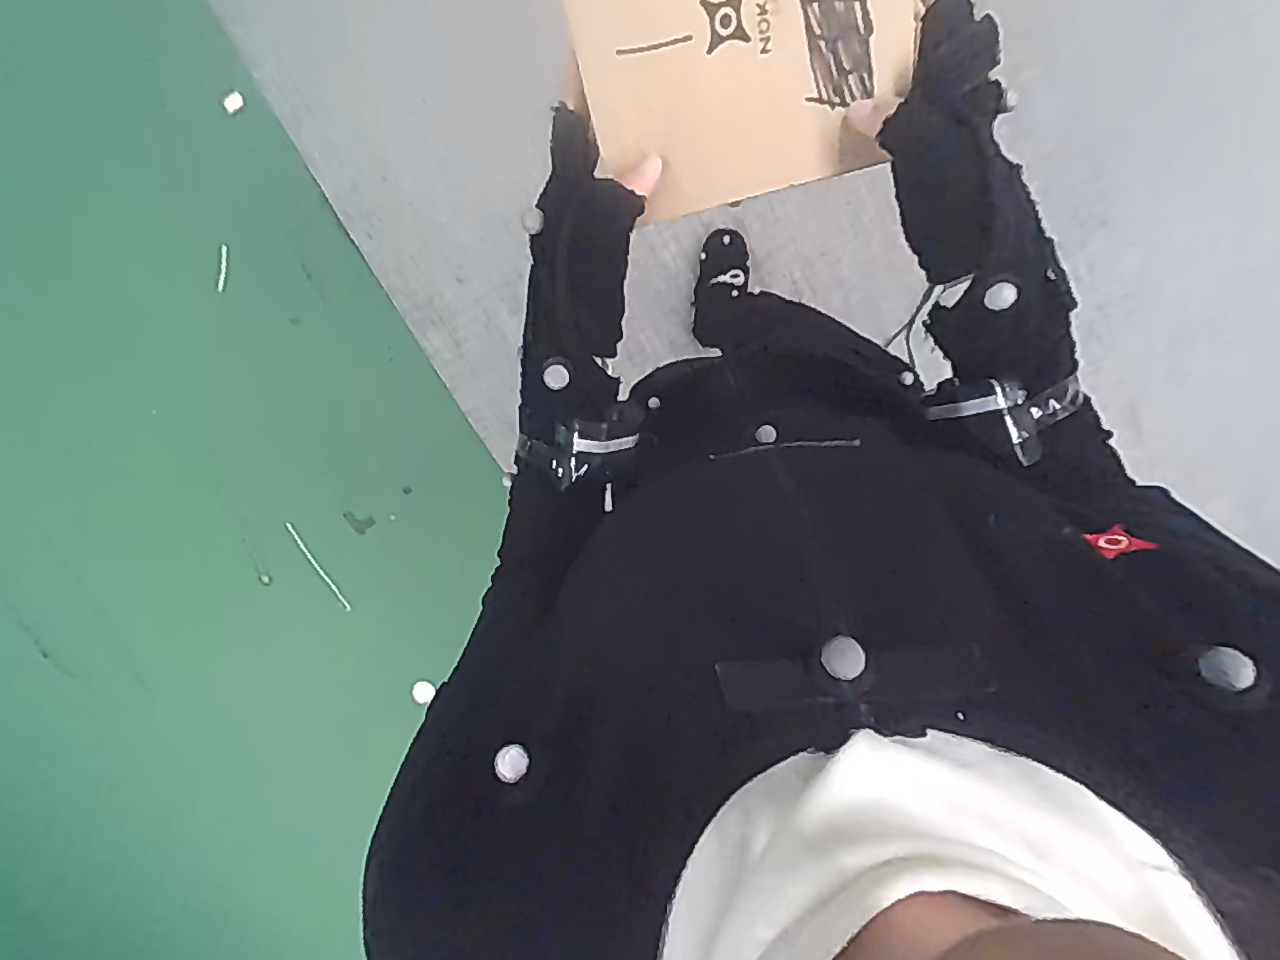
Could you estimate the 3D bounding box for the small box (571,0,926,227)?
[{"bbox_3d":[0.055,-0.287,0.341,0.179,0.176,0.168,-14,125,10],"label":"small box"}]
